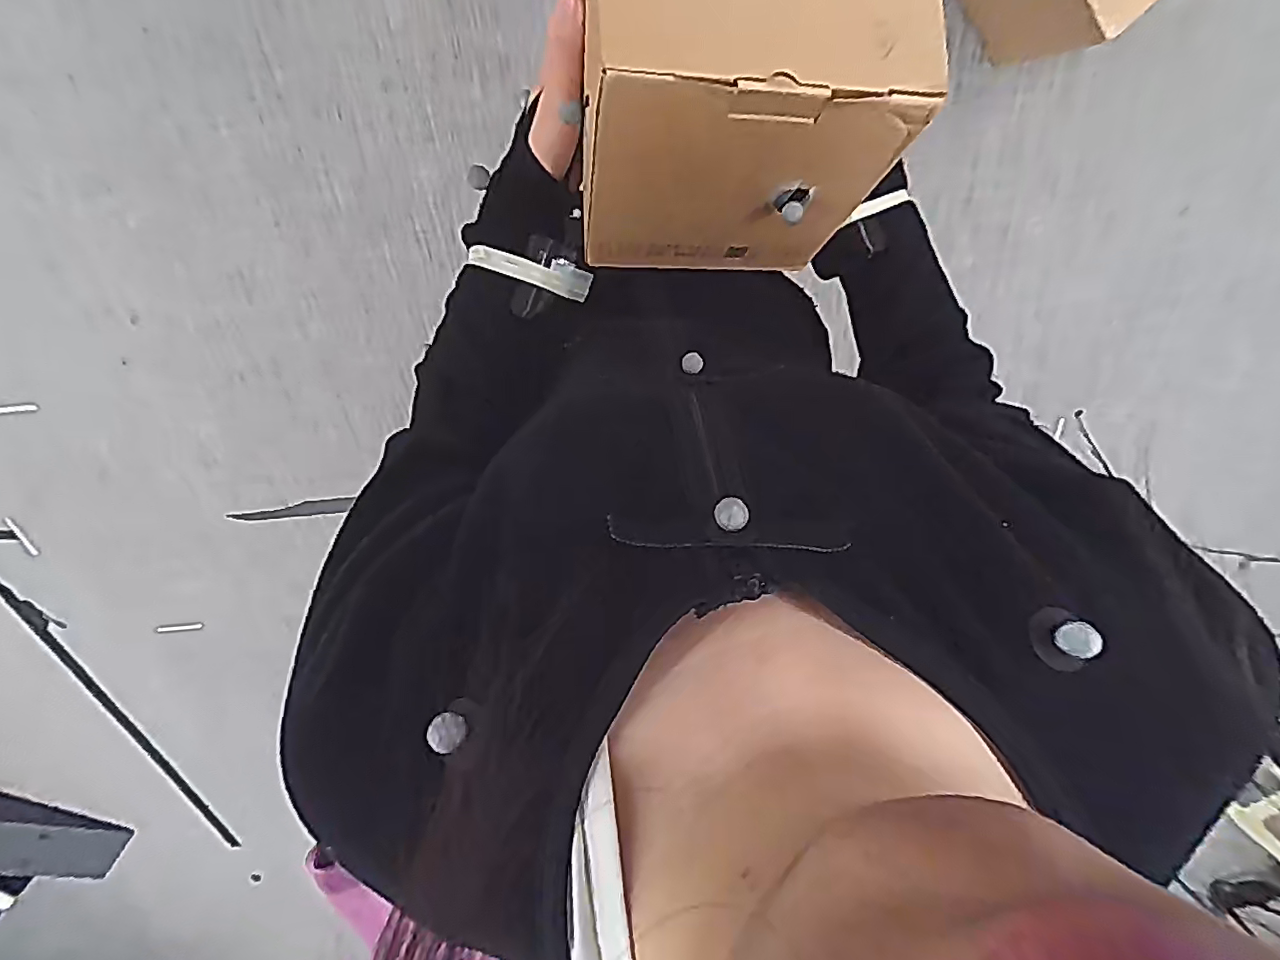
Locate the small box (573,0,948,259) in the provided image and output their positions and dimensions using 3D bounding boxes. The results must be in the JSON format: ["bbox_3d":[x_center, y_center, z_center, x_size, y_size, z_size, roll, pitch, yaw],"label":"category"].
[{"bbox_3d":[0.046,-0.253,0.324,0.168,0.176,0.179,-2,83,-9],"label":"small box"}]
